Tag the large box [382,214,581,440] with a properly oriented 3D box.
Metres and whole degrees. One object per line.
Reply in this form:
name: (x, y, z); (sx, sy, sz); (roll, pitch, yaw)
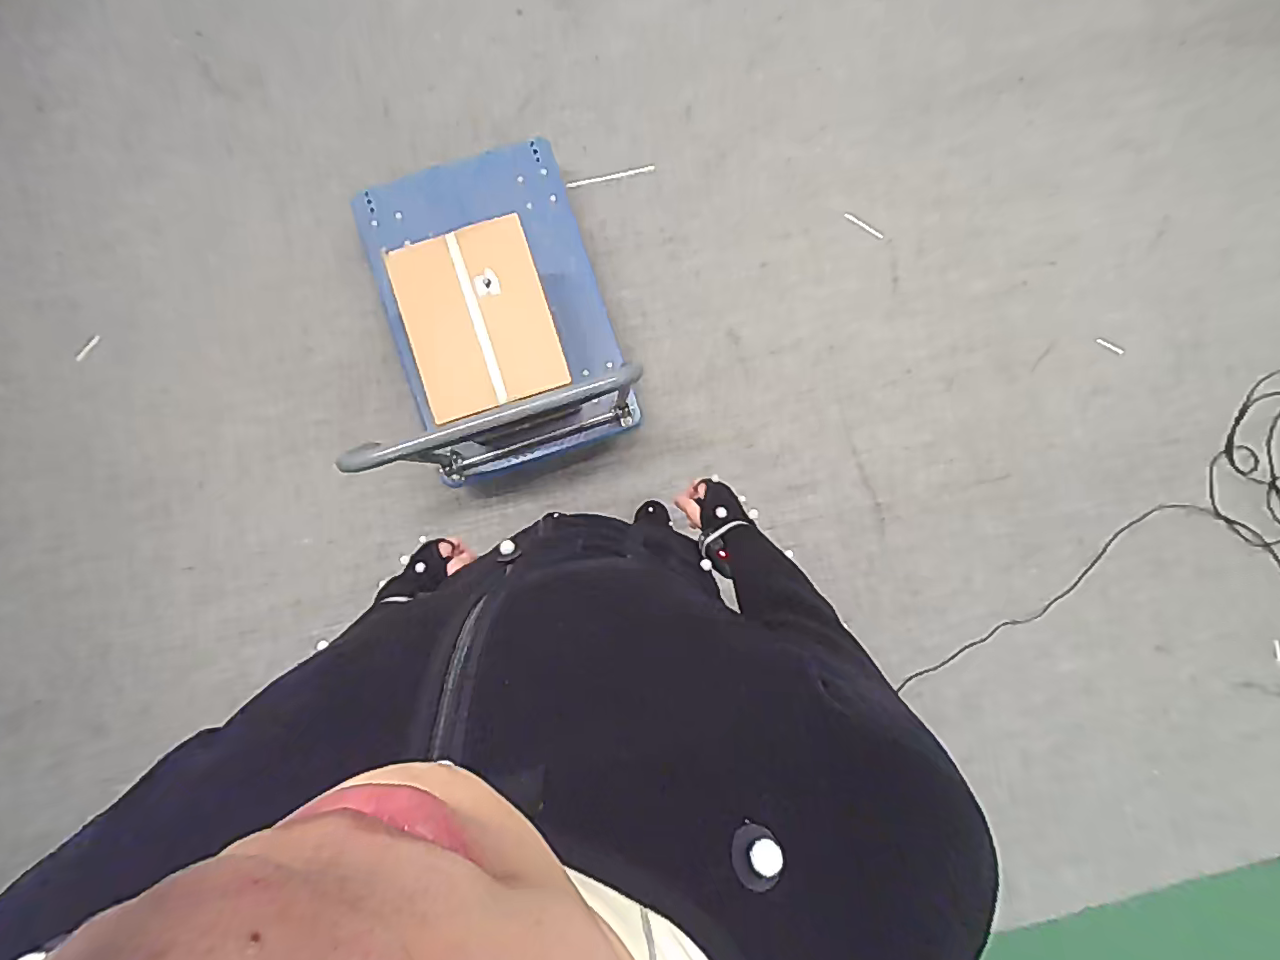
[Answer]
large box: (-0.363, -0.350, 1.332); (0.320, 0.320, 0.408); (-18, 87, -3)
